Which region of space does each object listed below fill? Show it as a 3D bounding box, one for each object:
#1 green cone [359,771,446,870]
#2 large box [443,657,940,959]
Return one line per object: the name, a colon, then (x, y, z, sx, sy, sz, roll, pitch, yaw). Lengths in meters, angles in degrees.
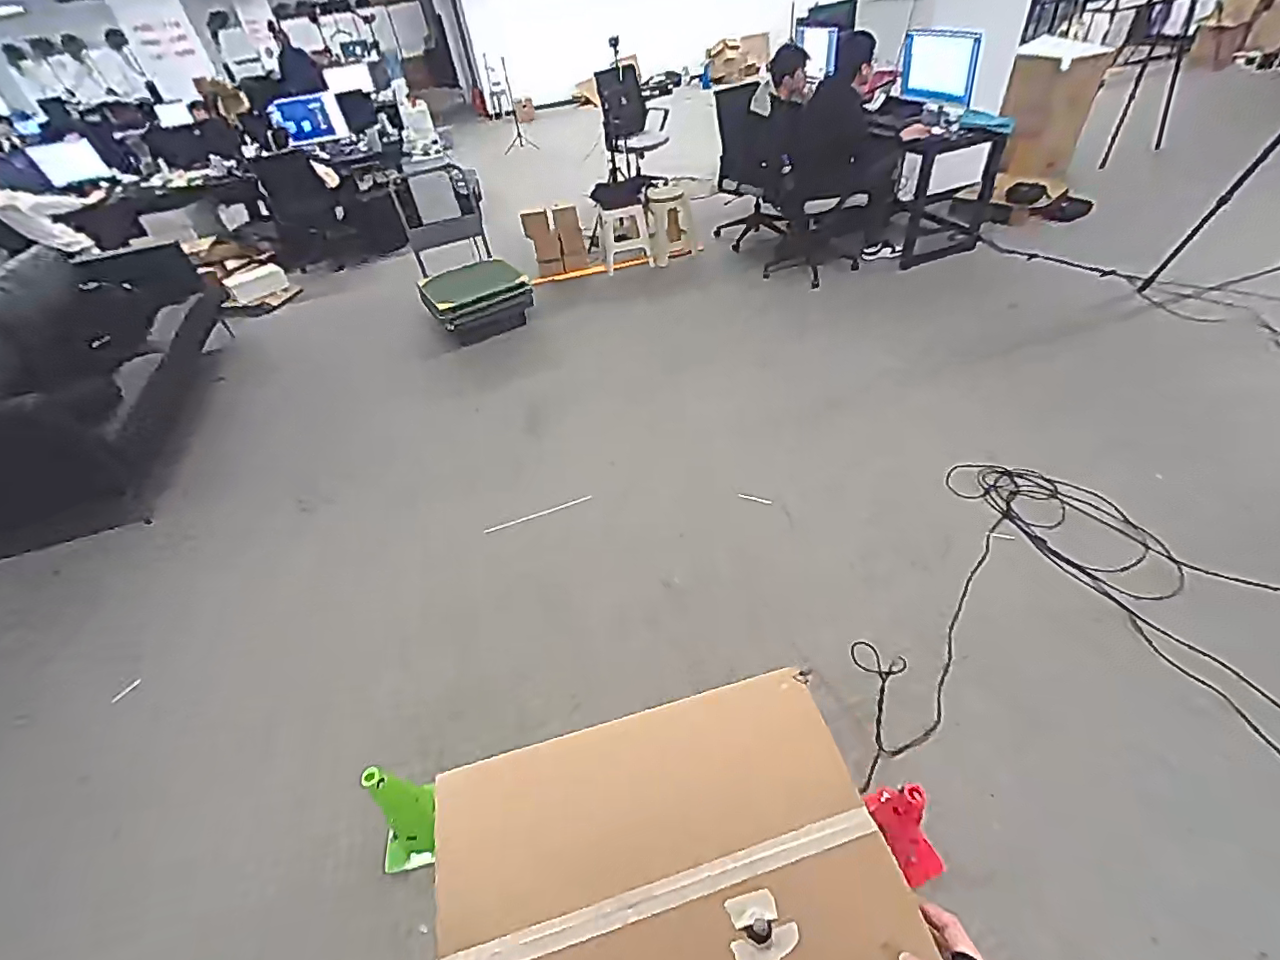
green cone: (-0.609, 0.812, 1.366, 0.200, 0.368, 0.202, -14, 44, -5)
large box: (0.030, 0.460, 0.611, 0.408, 0.320, 0.320, -14, 50, -9)
